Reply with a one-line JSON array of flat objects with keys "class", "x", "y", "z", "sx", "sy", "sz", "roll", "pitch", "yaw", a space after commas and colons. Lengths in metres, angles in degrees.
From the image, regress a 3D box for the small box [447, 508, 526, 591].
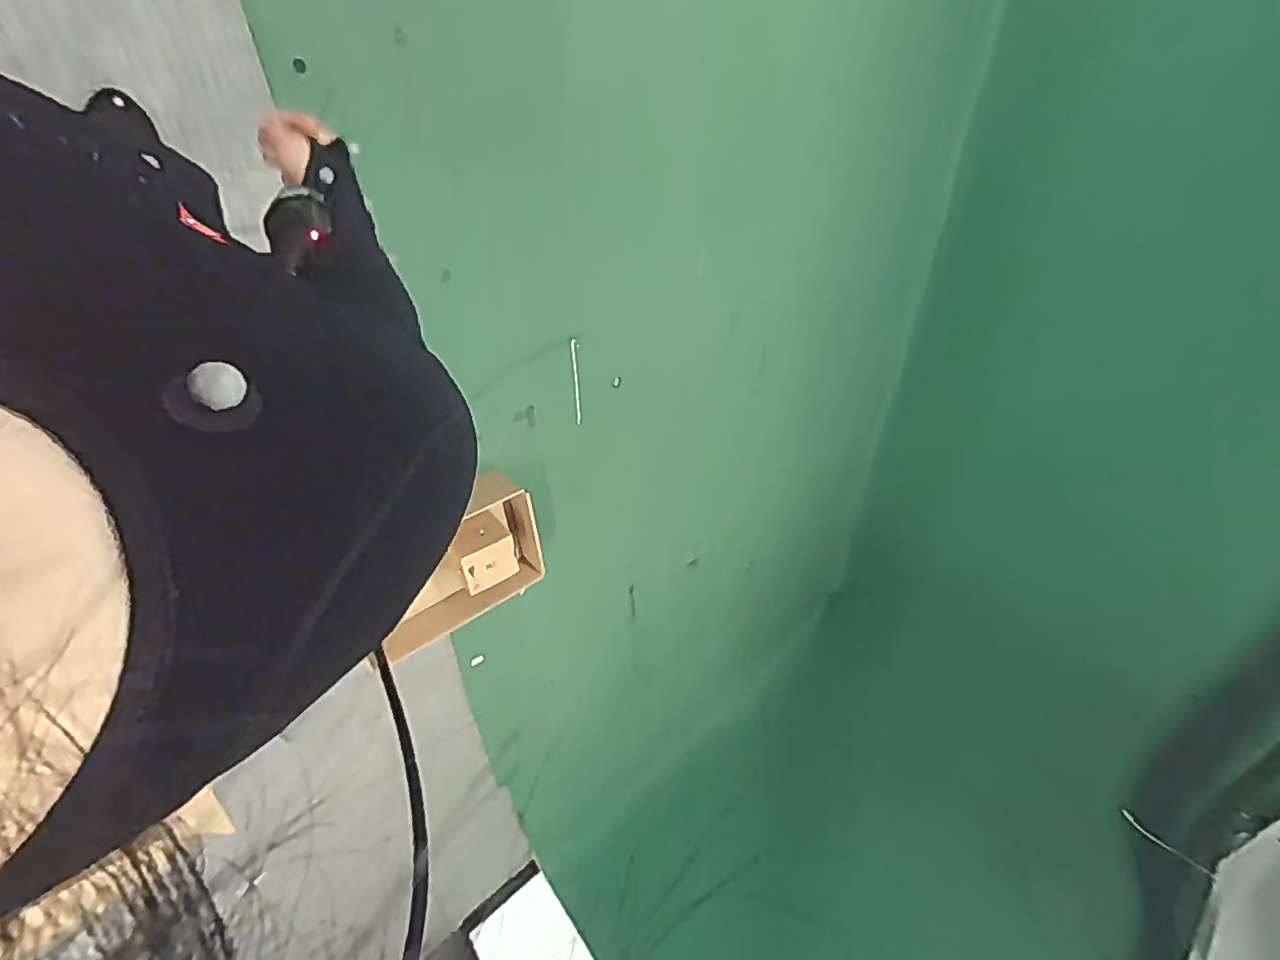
[{"class": "small box", "x": -0.498, "y": 0.220, "z": 1.756, "sx": 0.179, "sy": 0.176, "sz": 0.168, "roll": -26, "pitch": 133, "yaw": -30}]
